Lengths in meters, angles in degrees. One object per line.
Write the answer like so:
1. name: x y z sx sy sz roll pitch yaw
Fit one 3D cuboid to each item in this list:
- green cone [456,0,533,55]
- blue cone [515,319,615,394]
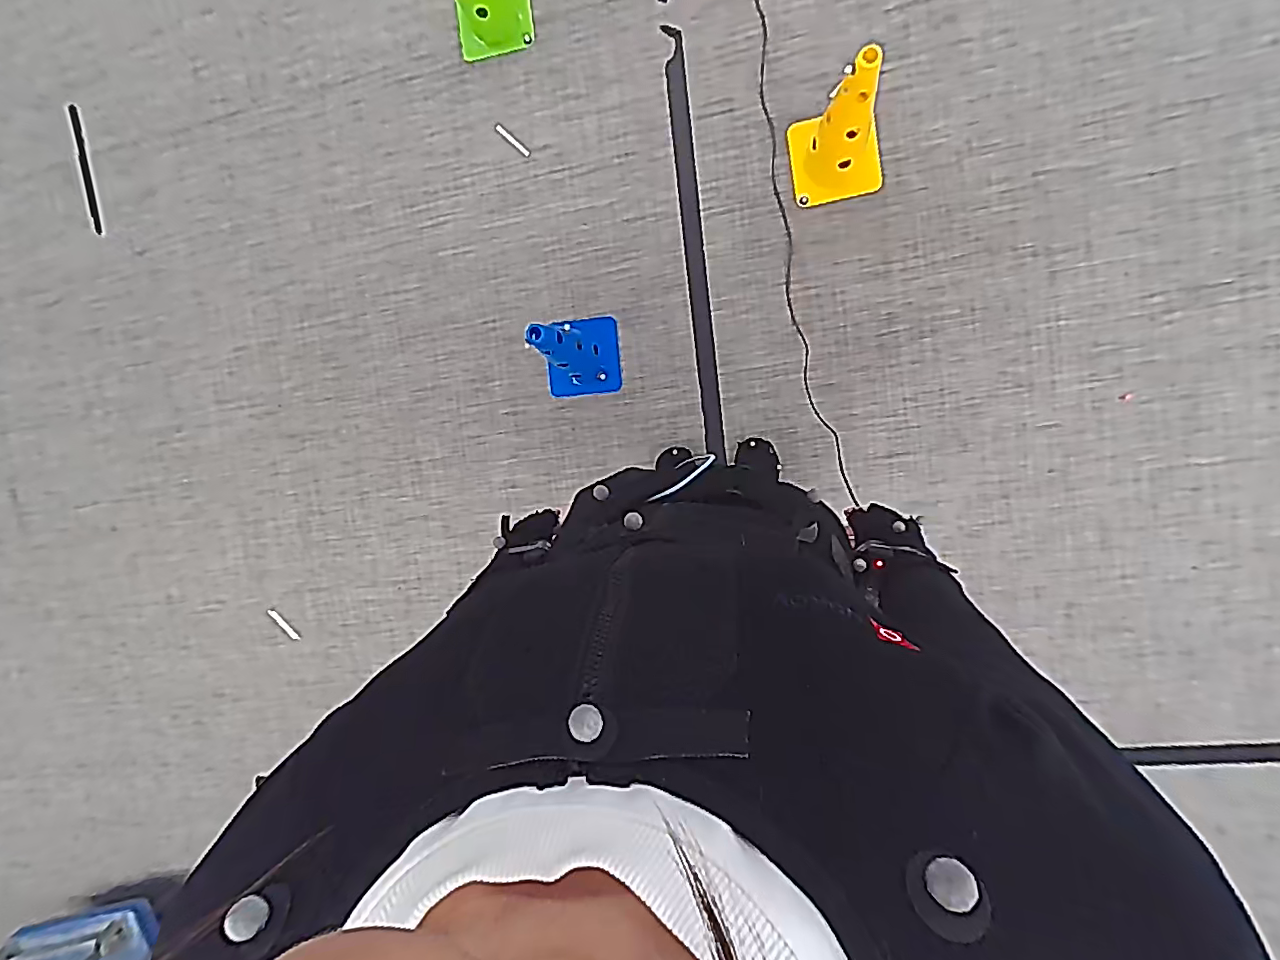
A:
1. green cone: -0.413 -1.209 1.231 0.202 0.368 0.200 -6 94 12
2. blue cone: -0.194 -0.318 1.287 0.192 0.380 0.193 -2 94 11
